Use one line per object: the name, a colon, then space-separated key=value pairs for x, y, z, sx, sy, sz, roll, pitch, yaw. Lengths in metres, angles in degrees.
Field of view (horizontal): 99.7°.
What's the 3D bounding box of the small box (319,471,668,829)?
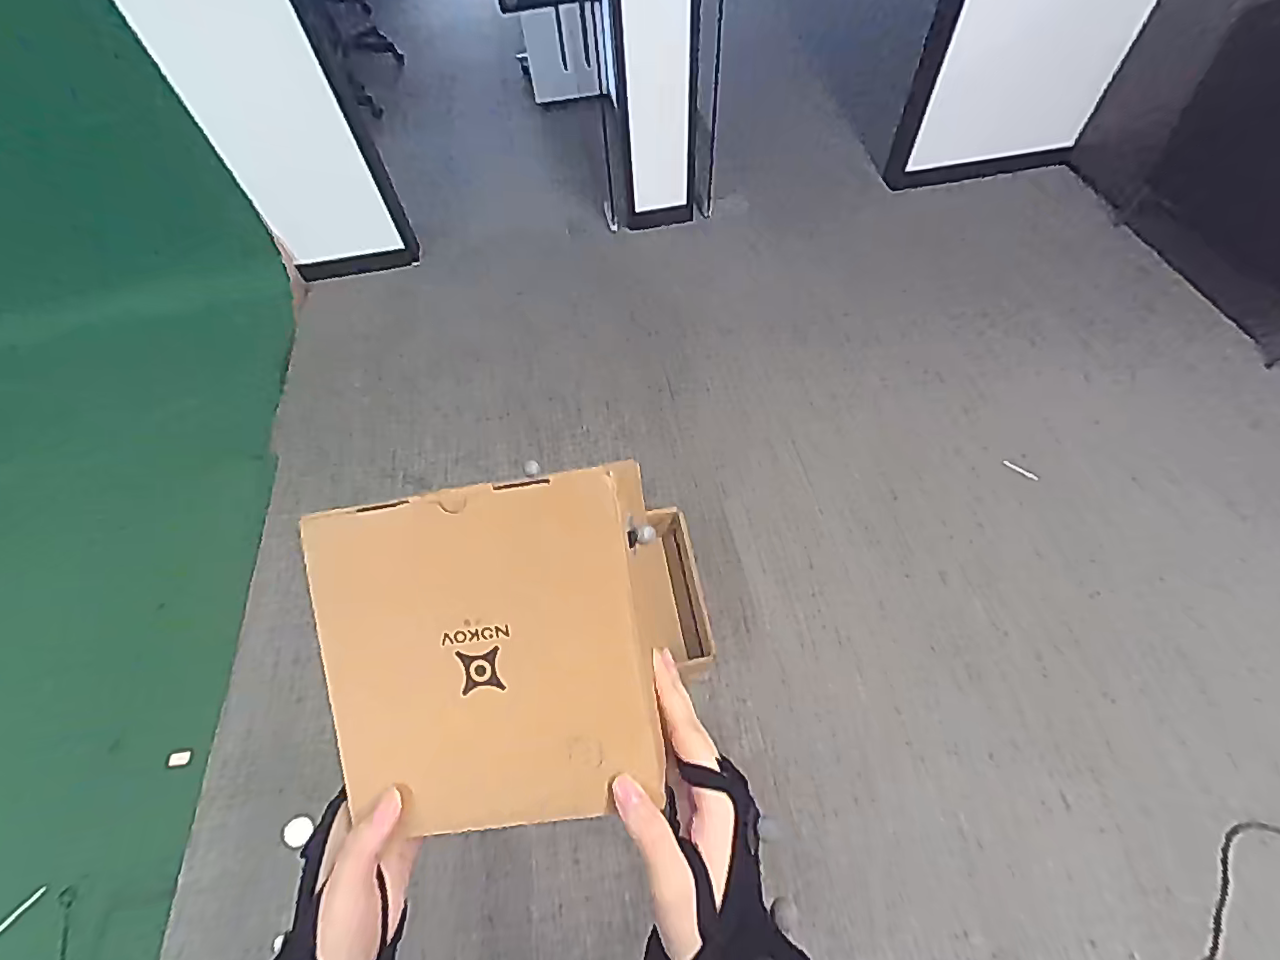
small box: x=-0.074 y=0.091 z=0.365 sx=0.168 sy=0.176 sz=0.179 roll=-9 pitch=90 yaw=4
